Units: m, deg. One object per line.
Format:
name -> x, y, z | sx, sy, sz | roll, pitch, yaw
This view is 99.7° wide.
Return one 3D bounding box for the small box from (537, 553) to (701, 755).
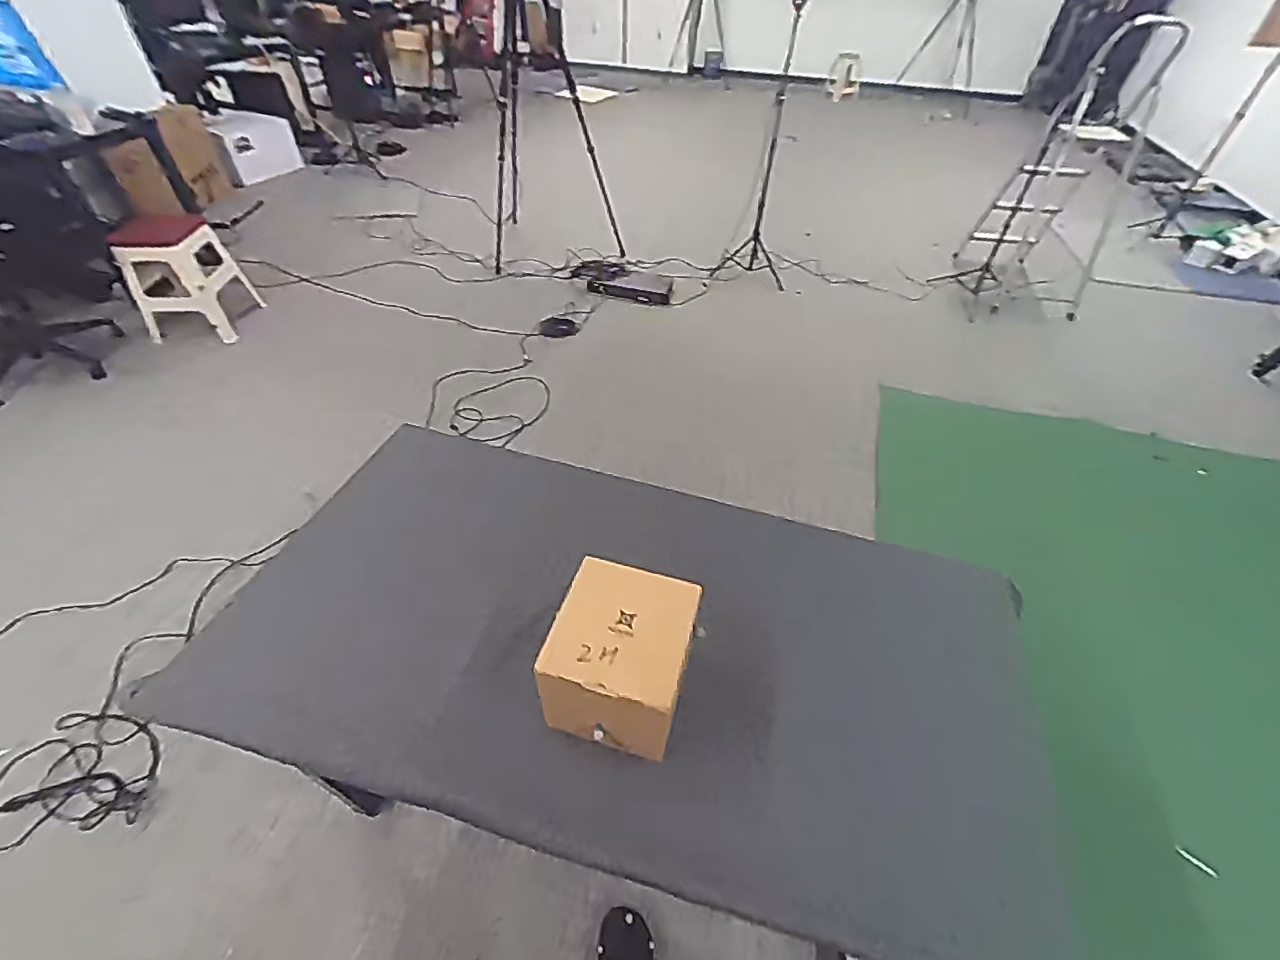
small box -> -0.025, 0.232, 0.724 | 0.168, 0.176, 0.179 | 13, 46, 10
